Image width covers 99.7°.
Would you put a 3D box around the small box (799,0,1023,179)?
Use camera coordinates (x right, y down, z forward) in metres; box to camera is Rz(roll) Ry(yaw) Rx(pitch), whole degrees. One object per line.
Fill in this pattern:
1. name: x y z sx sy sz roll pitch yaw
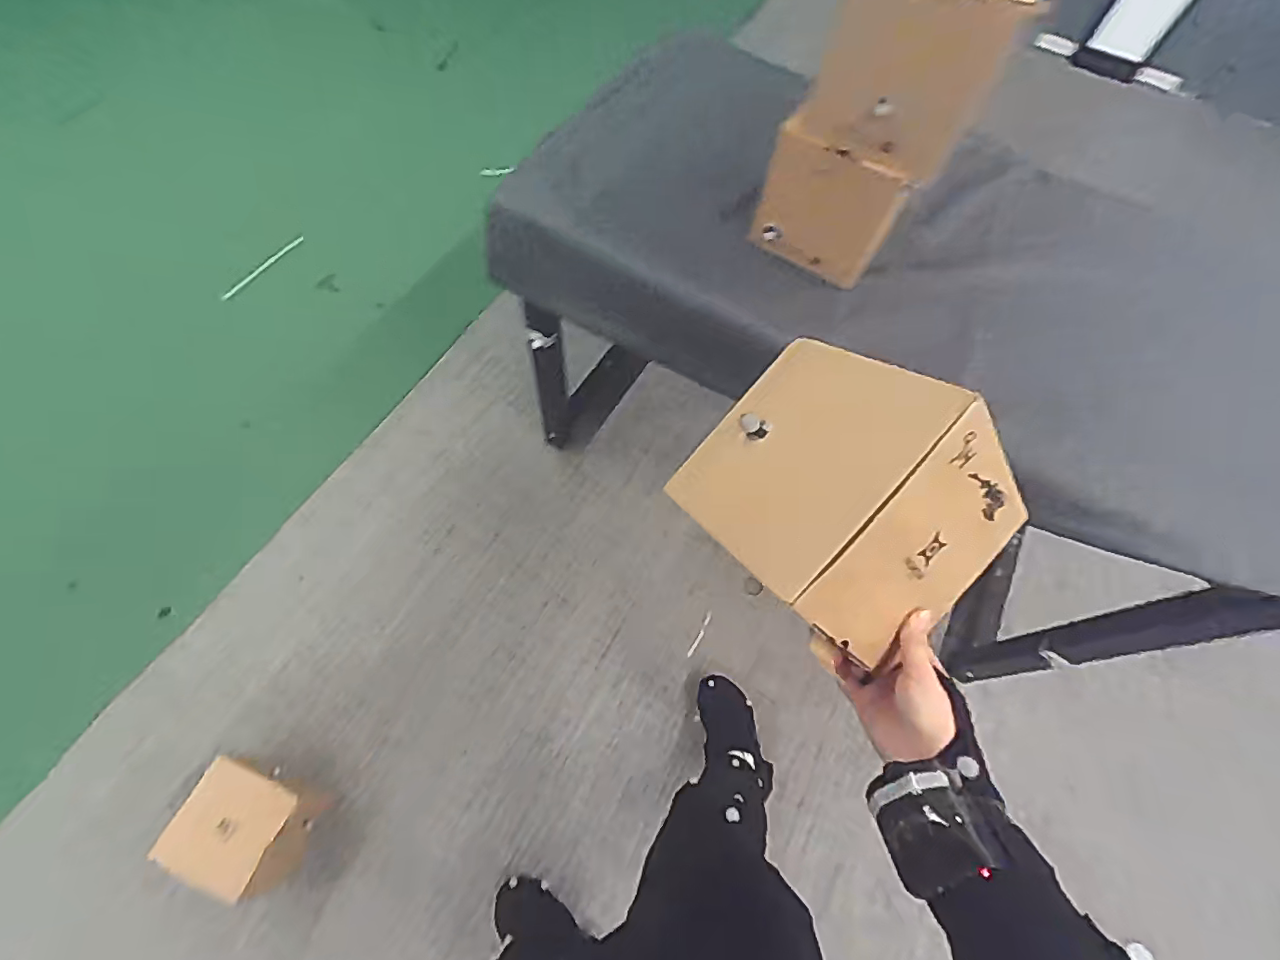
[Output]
1. small box: 0.300 -0.482 0.602 0.168 0.176 0.179 28 65 10

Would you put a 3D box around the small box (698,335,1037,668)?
1. small box: 0.171 0.012 0.444 0.179 0.168 0.176 -48 38 3

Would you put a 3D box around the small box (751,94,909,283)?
1. small box: 0.270 -0.410 0.749 0.168 0.176 0.179 31 65 10

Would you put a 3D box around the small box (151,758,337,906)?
1. small box: -0.698 0.622 0.981 0.179 0.176 0.168 21 63 7
